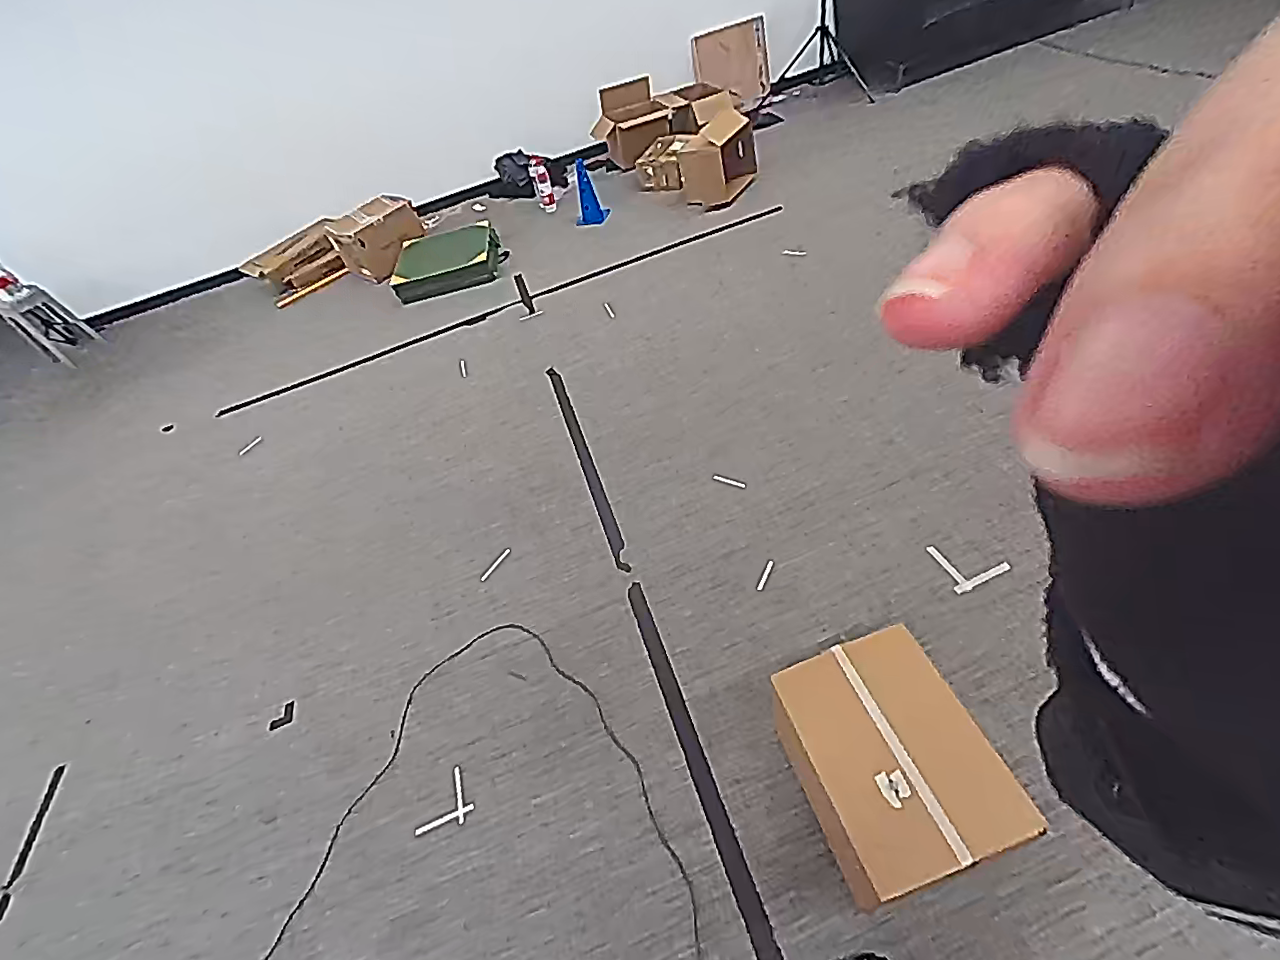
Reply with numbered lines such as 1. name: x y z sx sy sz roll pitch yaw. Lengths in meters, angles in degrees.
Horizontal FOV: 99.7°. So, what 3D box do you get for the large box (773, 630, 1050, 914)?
1. large box: 0.509 0.601 1.129 0.320 0.320 0.408 -22 48 -3
